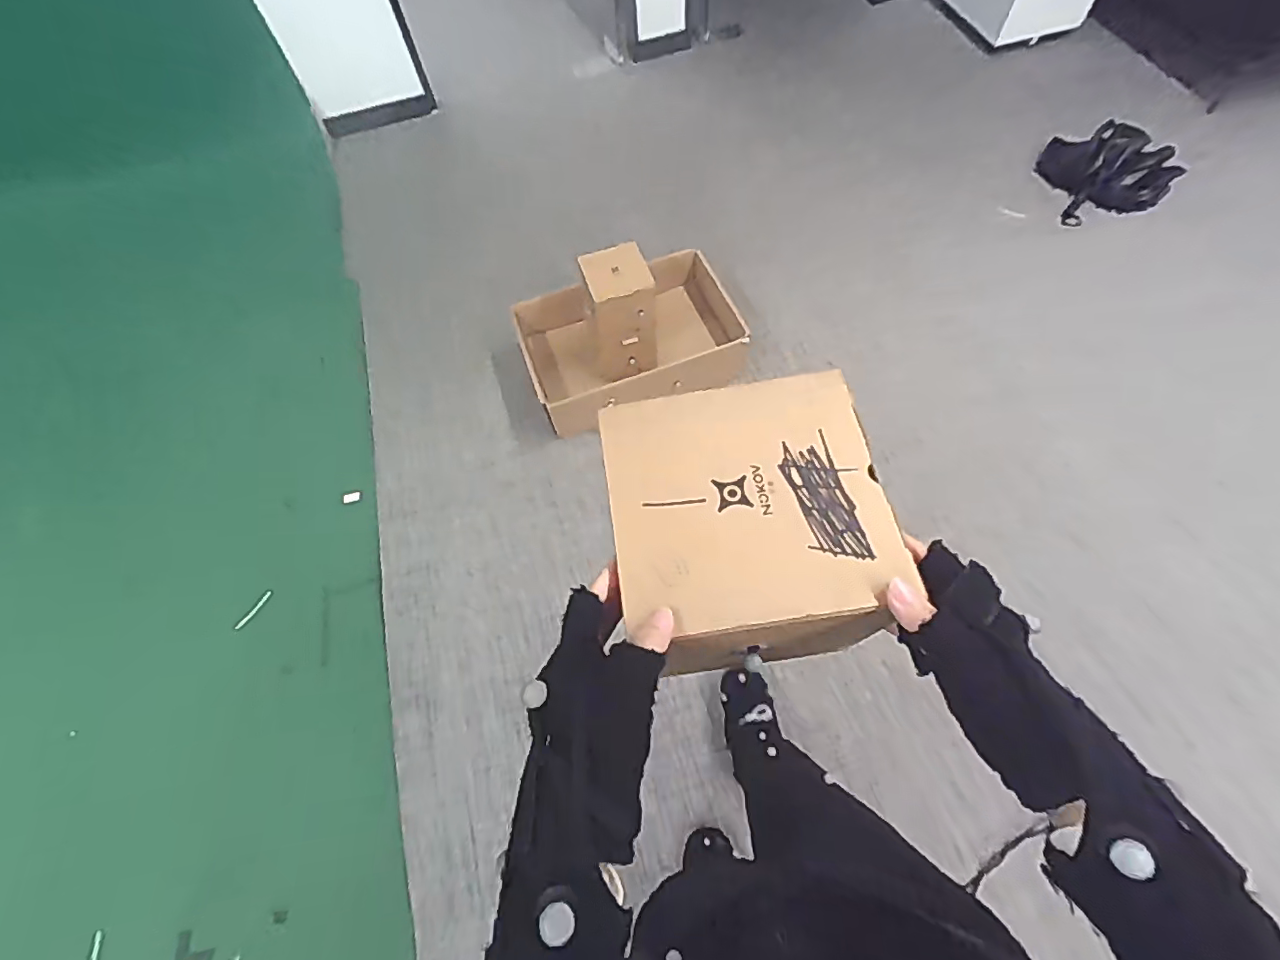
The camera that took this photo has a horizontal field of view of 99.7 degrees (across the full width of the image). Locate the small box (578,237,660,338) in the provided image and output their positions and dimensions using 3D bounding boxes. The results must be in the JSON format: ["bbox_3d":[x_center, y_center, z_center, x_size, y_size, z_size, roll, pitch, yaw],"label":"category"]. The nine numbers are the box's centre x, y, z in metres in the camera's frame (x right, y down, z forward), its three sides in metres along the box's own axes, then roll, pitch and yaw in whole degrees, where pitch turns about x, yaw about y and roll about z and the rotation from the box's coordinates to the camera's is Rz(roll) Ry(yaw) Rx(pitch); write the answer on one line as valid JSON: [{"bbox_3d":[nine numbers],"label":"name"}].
[{"bbox_3d":[-0.051,-0.508,1.457,0.168,0.176,0.179,-22,65,-6],"label":"small box"}]

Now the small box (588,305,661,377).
[{"bbox_3d":[-0.042,-0.431,1.618,0.168,0.176,0.179,-19,64,-5],"label":"small box"}]

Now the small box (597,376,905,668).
[{"bbox_3d":[0.070,0.044,0.428,0.179,0.176,0.168,-9,63,1],"label":"small box"}]
